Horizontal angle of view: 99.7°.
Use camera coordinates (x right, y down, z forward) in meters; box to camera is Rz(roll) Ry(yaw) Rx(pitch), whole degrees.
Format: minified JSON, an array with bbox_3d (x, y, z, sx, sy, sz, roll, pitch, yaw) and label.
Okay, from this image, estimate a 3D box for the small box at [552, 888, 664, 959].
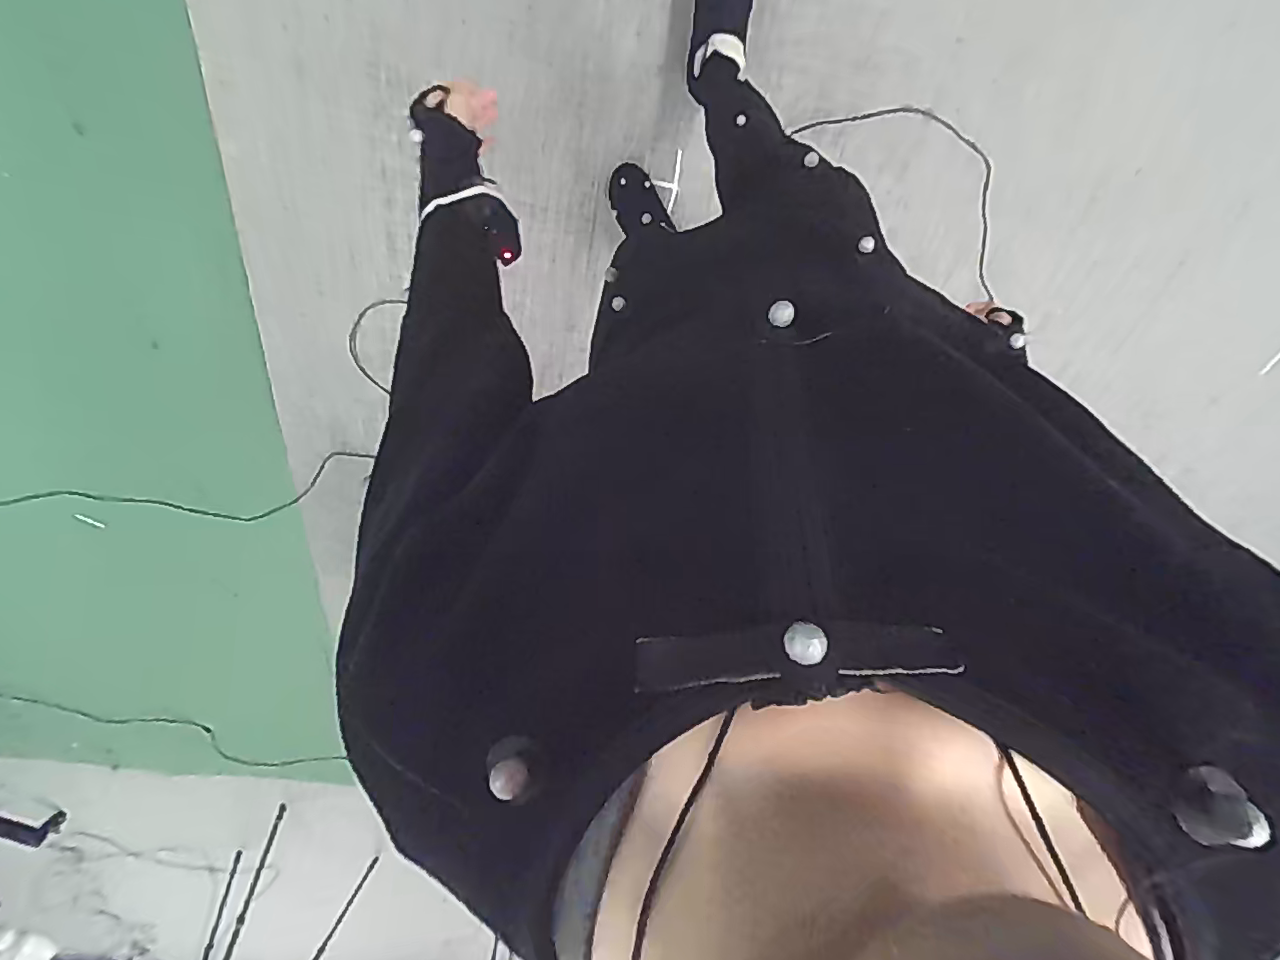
[{"bbox_3d":[-0.061,0.834,0.938,0.179,0.176,0.168,9,127,-8],"label":"small box"}]
